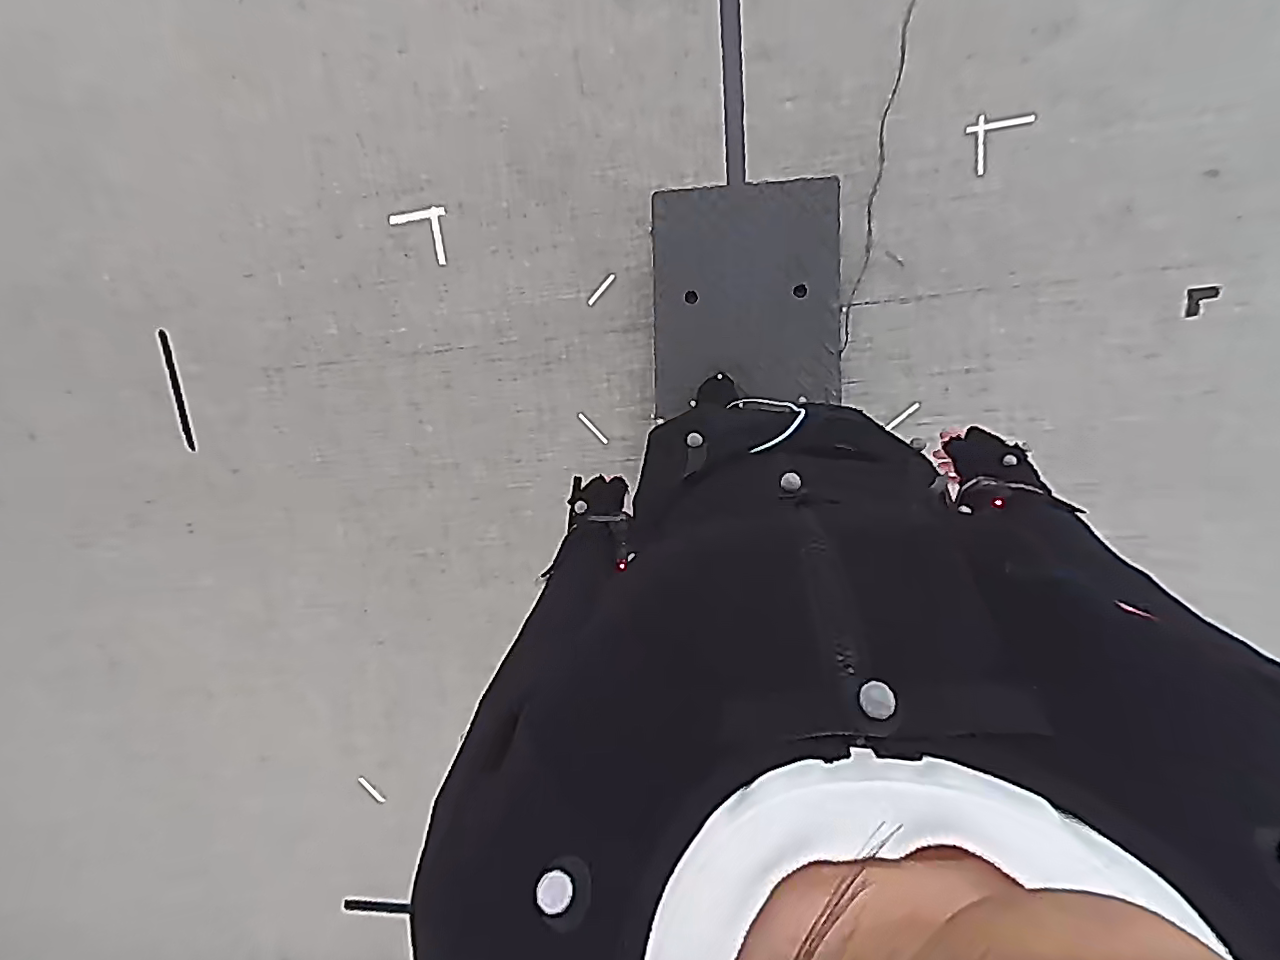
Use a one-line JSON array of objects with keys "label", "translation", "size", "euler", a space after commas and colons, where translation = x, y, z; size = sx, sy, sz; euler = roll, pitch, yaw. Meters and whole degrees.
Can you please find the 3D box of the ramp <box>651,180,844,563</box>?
[{"label": "ramp", "translation": [0.278, -0.278, 1.442], "size": [0.509, 0.206, 0.991], "euler": [-2, 100, 9]}]
